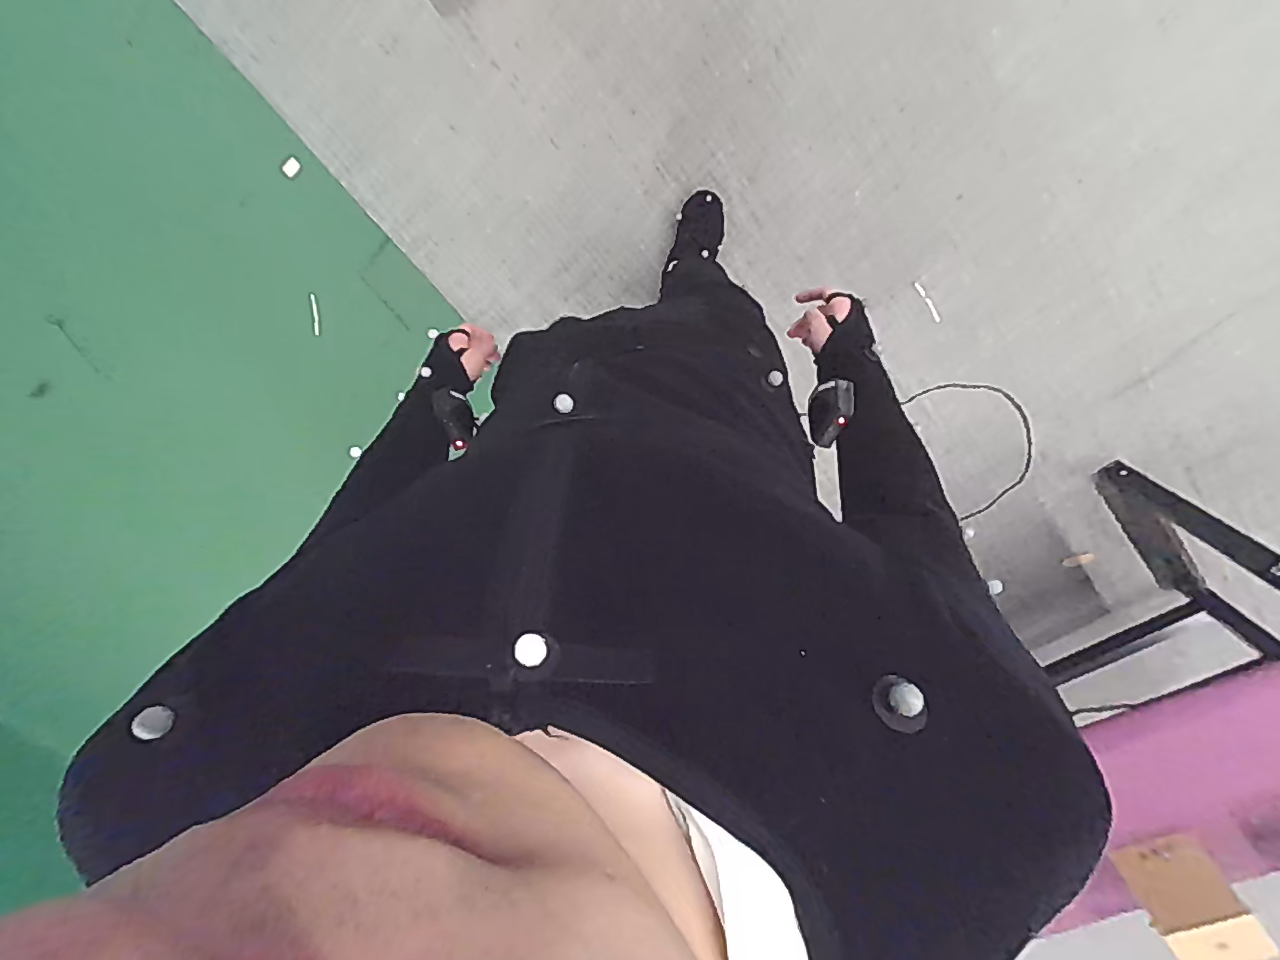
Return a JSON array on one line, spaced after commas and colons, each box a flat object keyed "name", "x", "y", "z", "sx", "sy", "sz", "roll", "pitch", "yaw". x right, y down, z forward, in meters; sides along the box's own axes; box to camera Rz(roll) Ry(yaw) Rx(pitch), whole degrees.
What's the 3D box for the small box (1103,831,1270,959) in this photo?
[{"name": "small box", "x": 1.166, "y": 0.905, "z": 1.167, "sx": 0.168, "sy": 0.176, "sz": 0.179, "roll": -36, "pitch": 108, "yaw": 19}]
